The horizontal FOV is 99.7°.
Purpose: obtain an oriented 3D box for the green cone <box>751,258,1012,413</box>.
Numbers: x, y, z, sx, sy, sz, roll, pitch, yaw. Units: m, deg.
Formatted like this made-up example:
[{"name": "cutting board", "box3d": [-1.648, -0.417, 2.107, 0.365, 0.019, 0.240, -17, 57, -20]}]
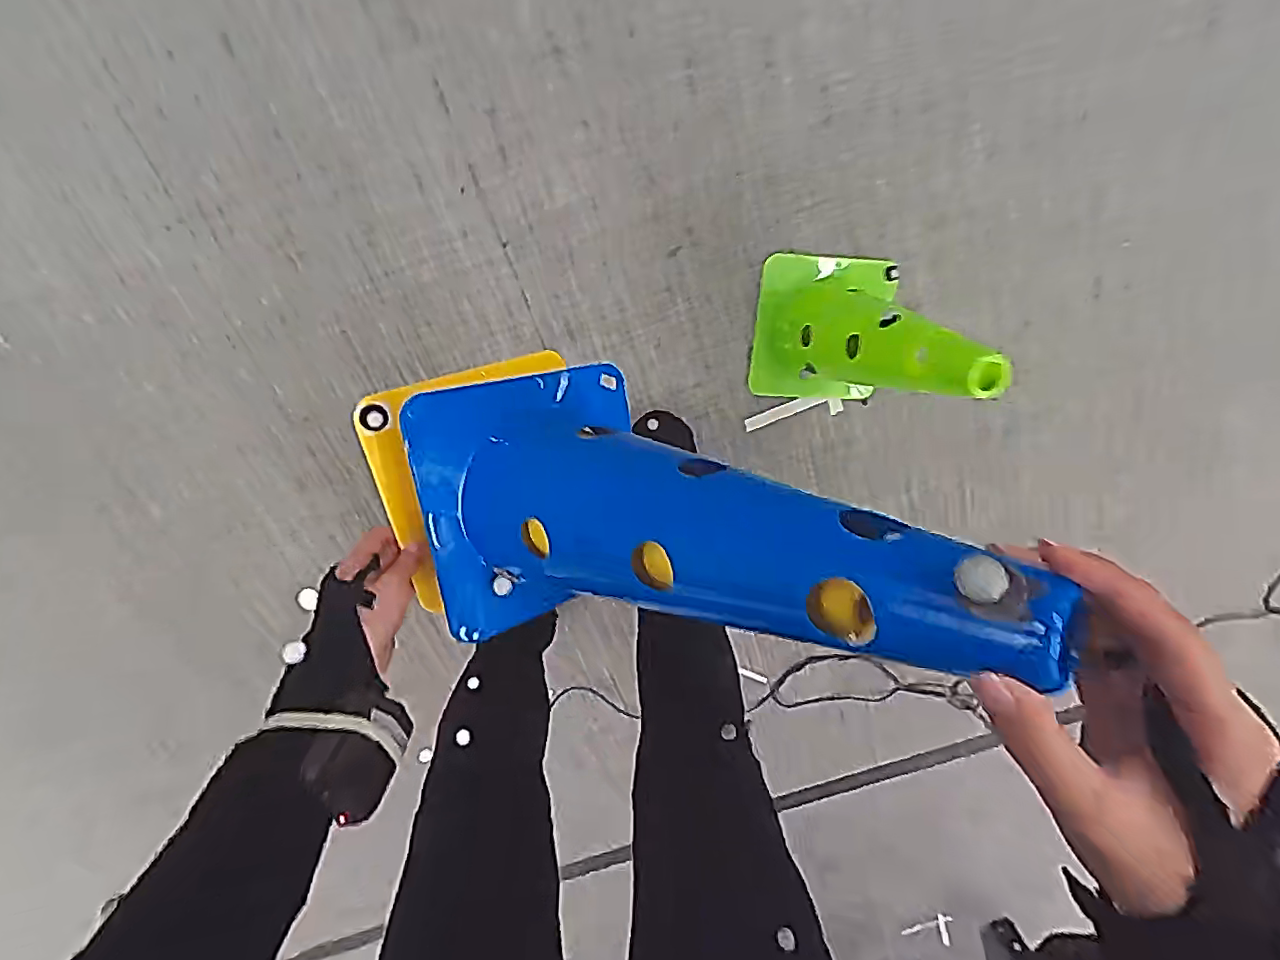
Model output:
[{"name": "green cone", "box3d": [0.284, -0.149, 0.633, 0.200, 0.368, 0.202, 0, 112, -6]}]
